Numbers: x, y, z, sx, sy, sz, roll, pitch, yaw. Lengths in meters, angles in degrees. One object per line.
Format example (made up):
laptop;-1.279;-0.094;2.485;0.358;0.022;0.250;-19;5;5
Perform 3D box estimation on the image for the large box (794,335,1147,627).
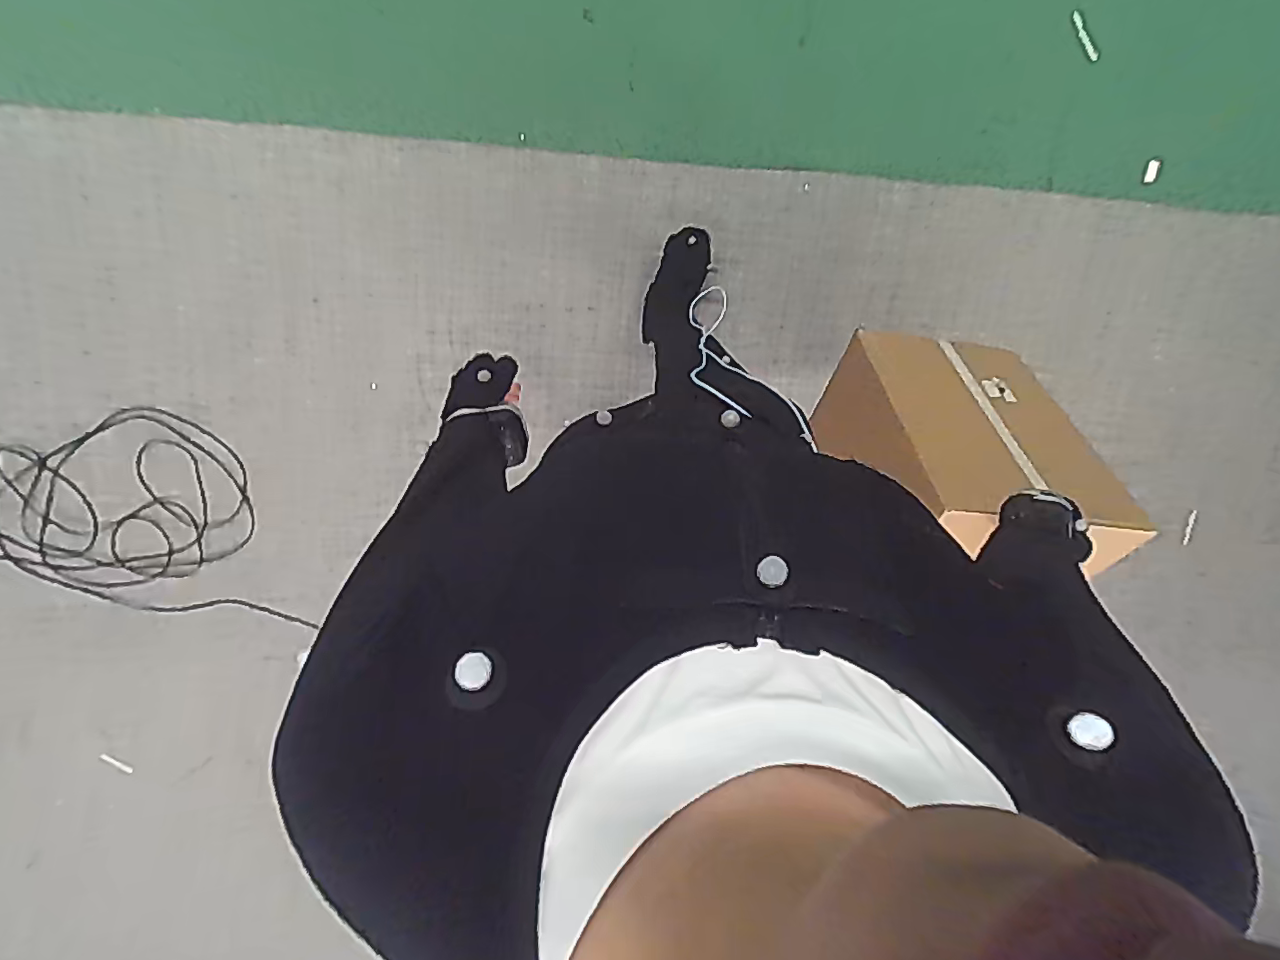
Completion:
large box;0.504;0.003;0.943;0.320;0.408;0.320;7;136;-8
